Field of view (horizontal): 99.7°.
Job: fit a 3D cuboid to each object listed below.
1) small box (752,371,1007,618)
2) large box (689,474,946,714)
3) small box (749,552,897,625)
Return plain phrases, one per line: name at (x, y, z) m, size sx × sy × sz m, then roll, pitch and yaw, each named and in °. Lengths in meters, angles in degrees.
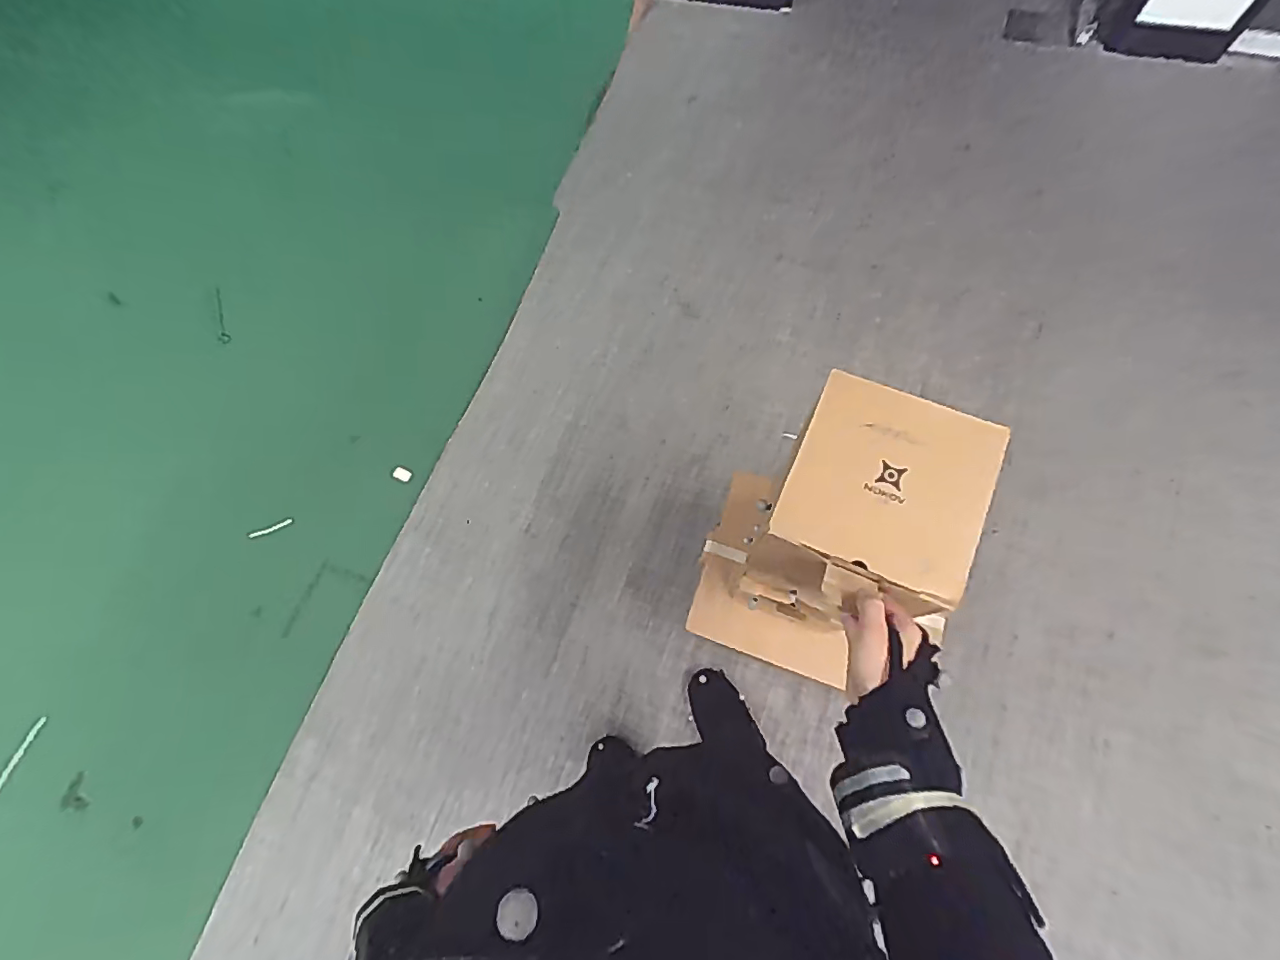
small box at (0.222, 0.027, 0.547) m, size 0.168 × 0.176 × 0.179 m, roll 23°, pitch 74°, yaw 11°
large box at (0.329, 0.225, 1.074) m, size 0.408 × 0.320 × 0.320 m, roll 18°, pitch 76°, yaw 11°
small box at (0.250, 0.072, 0.702) m, size 0.168 × 0.176 × 0.179 m, roll 23°, pitch 76°, yaw 13°
